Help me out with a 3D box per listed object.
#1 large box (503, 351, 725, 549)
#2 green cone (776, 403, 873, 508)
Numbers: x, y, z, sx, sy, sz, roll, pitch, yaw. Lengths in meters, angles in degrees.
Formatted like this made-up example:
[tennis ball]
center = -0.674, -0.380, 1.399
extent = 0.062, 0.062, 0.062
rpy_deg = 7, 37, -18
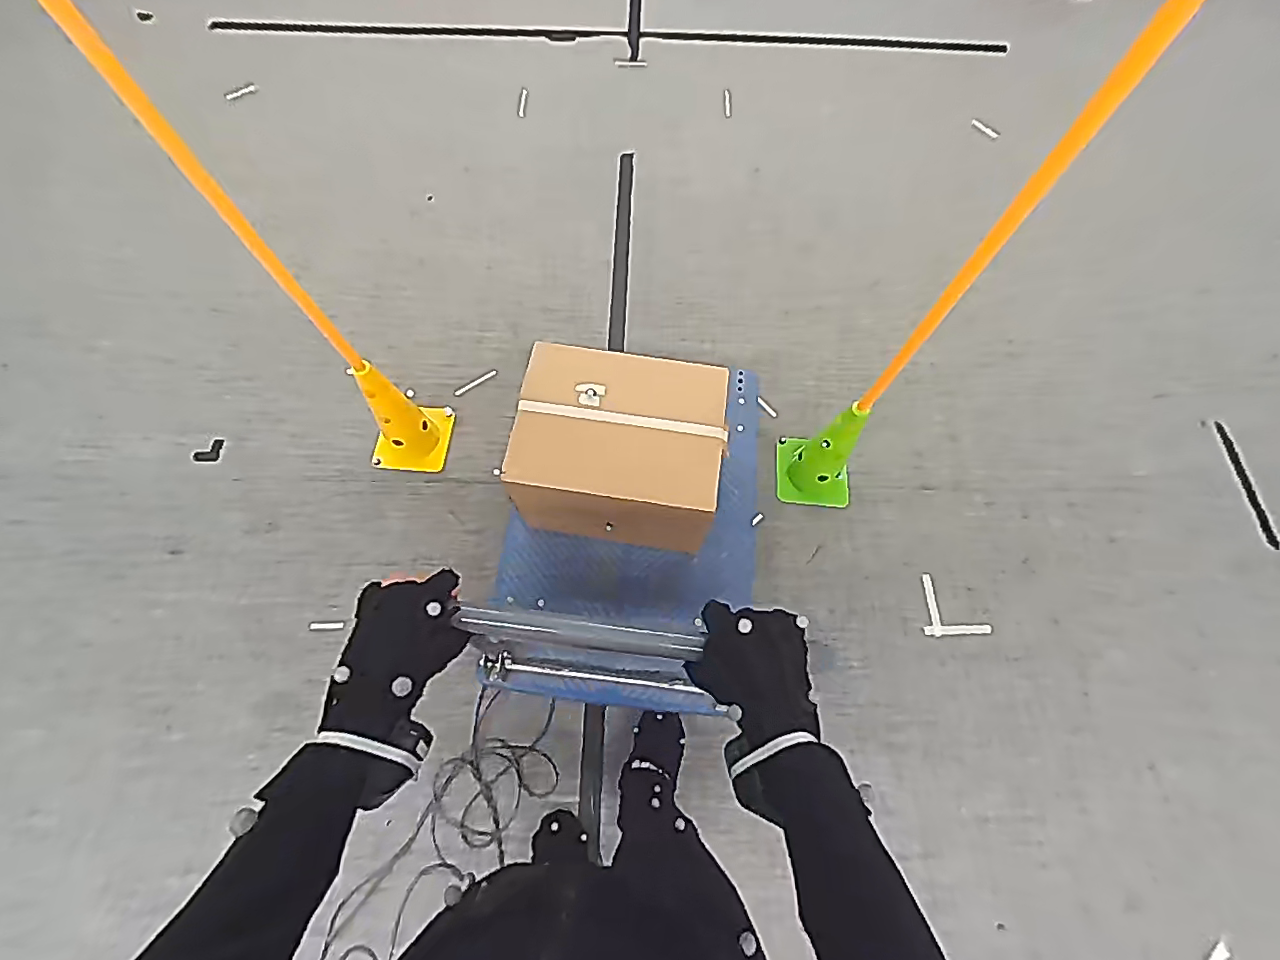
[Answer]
[large box]
center = -0.041, -0.051, 1.202
extent = 0.408, 0.320, 0.320
rpy_deg = 9, 68, 3
[green cone]
center = 0.494, -0.086, 1.383
extent = 0.202, 0.368, 0.200
rpy_deg = 6, 68, 0
